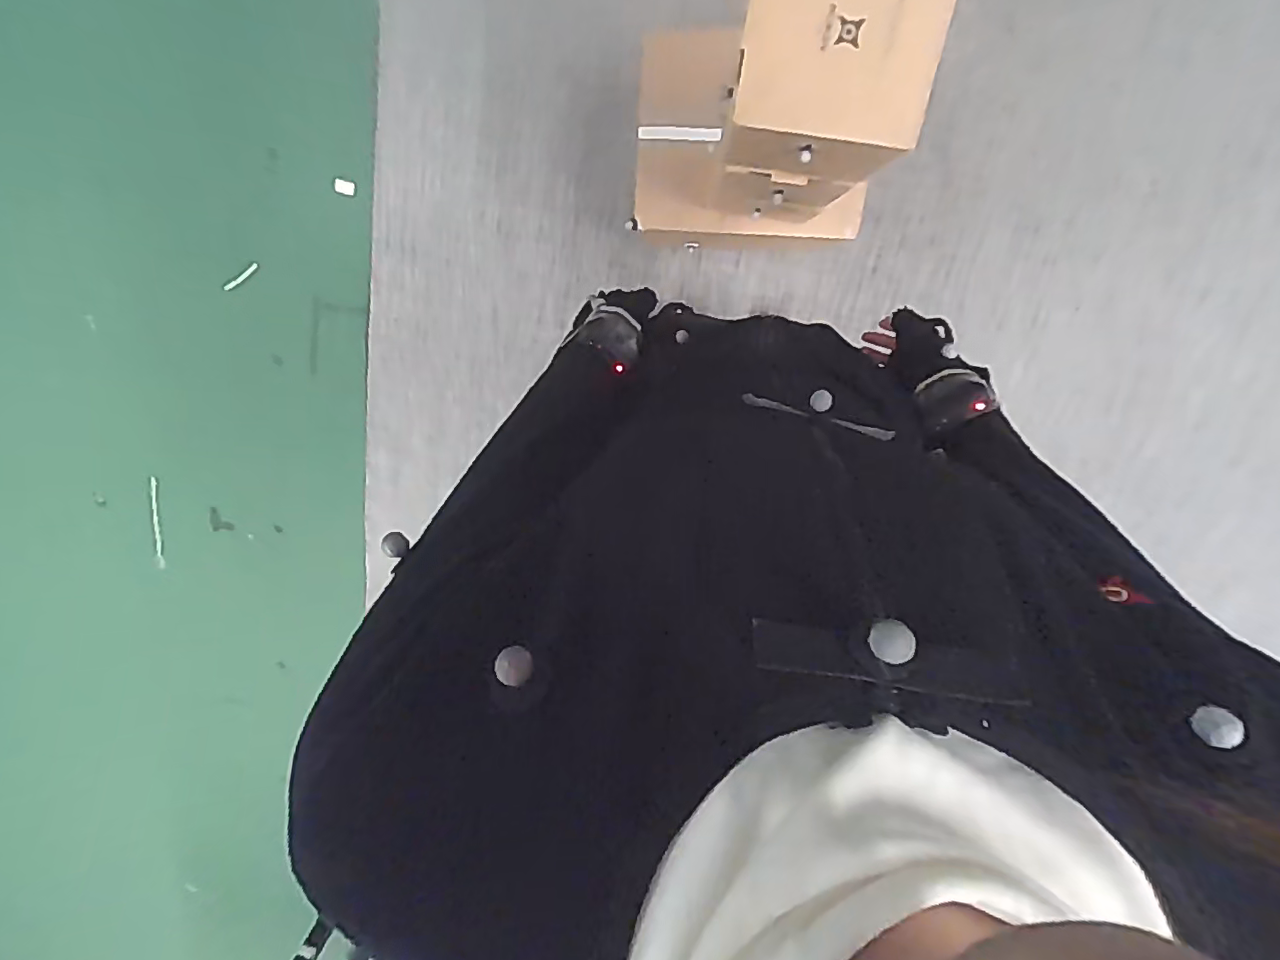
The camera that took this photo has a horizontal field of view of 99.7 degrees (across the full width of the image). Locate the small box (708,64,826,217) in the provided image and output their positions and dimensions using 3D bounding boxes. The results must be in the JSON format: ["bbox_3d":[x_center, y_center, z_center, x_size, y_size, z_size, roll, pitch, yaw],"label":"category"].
[{"bbox_3d":[0.210,-0.527,0.860,0.179,0.176,0.168,11,110,3],"label":"small box"}]

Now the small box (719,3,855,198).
[{"bbox_3d":[0.198,-0.480,0.704,0.168,0.176,0.179,9,110,2],"label":"small box"}]

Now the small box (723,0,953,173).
[{"bbox_3d":[0.187,-0.427,0.550,0.179,0.176,0.168,9,111,1],"label":"small box"}]
